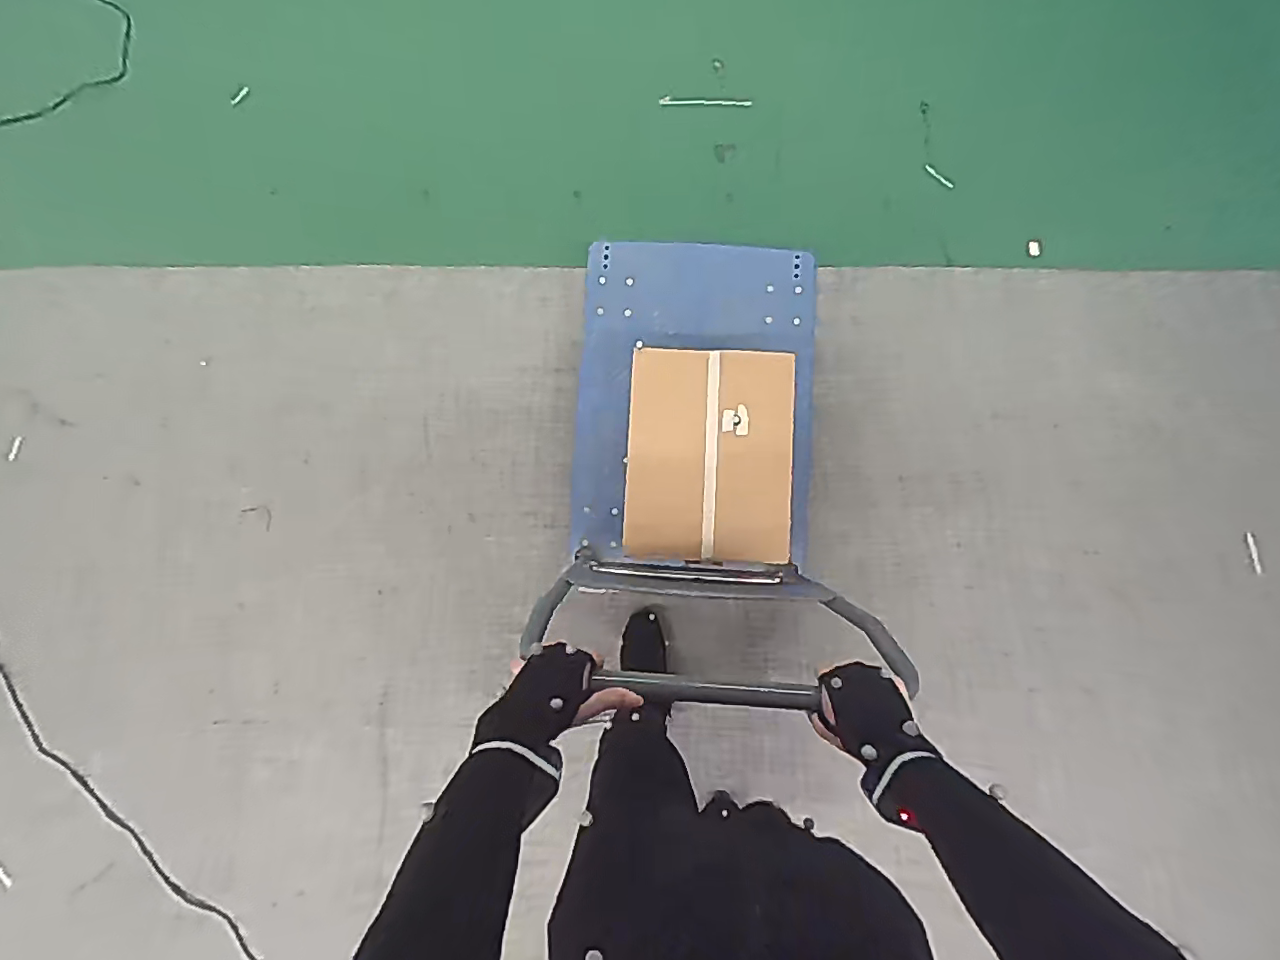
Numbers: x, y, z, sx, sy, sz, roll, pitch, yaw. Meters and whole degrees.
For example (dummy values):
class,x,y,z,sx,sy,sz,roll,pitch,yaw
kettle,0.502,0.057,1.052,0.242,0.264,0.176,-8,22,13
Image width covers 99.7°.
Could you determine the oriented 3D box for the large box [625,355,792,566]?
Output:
class,x,y,z,sx,sy,sz,roll,pitch,yaw
large box,0.139,-0.027,1.176,0.320,0.320,0.408,3,85,1
